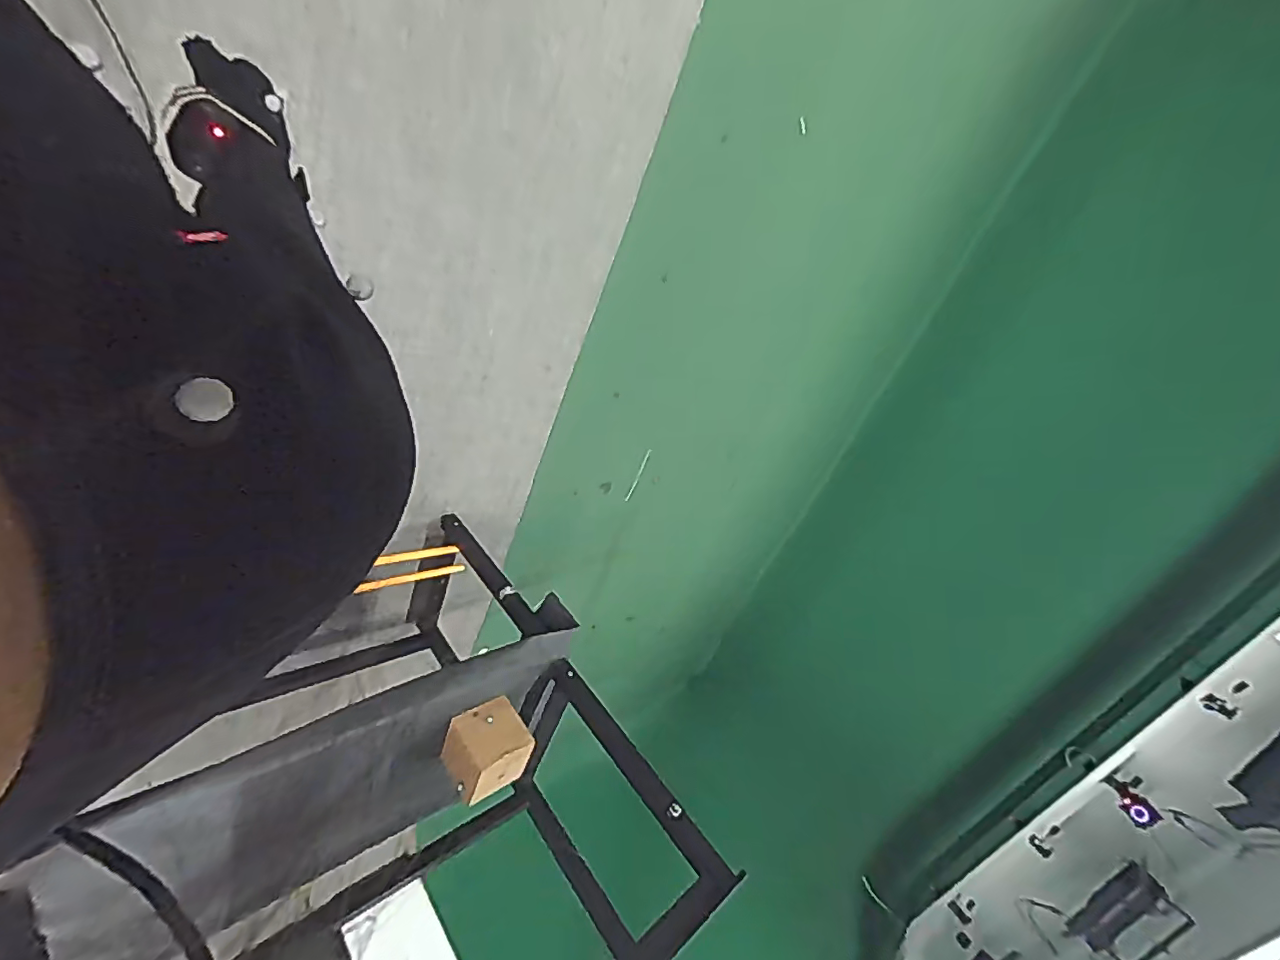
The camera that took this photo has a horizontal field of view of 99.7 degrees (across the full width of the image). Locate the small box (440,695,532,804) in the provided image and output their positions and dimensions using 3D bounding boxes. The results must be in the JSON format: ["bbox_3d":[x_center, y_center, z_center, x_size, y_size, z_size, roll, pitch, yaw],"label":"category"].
[{"bbox_3d":[-0.428,0.731,1.483,0.168,0.176,0.179,-10,131,-47],"label":"small box"}]
